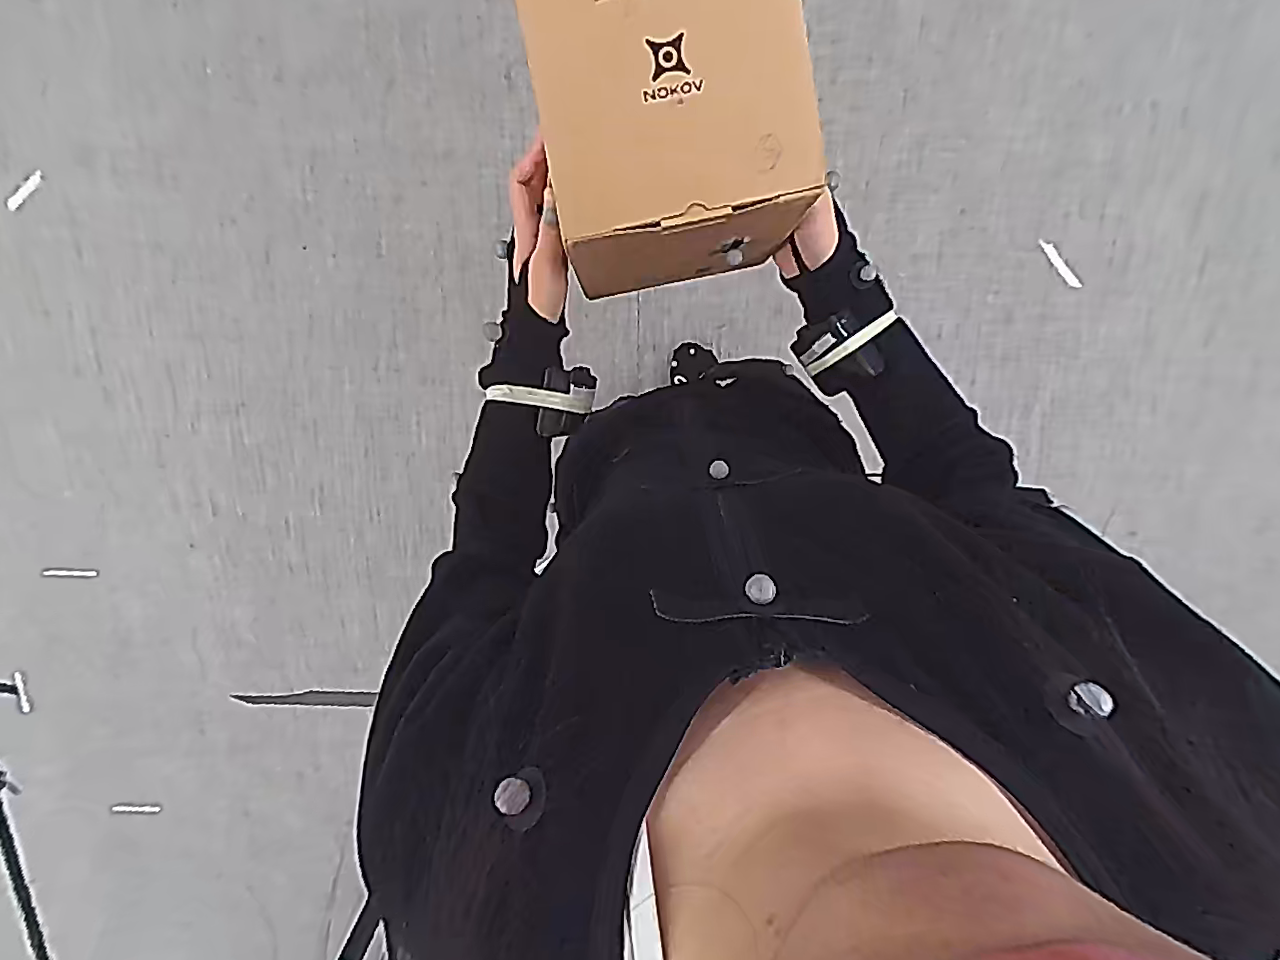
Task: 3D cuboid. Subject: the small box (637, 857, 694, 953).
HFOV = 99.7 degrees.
[{"bbox_3d":[0.079,1.346,1.716,0.168,0.176,0.179,3,104,-1],"label":"small box"}]
